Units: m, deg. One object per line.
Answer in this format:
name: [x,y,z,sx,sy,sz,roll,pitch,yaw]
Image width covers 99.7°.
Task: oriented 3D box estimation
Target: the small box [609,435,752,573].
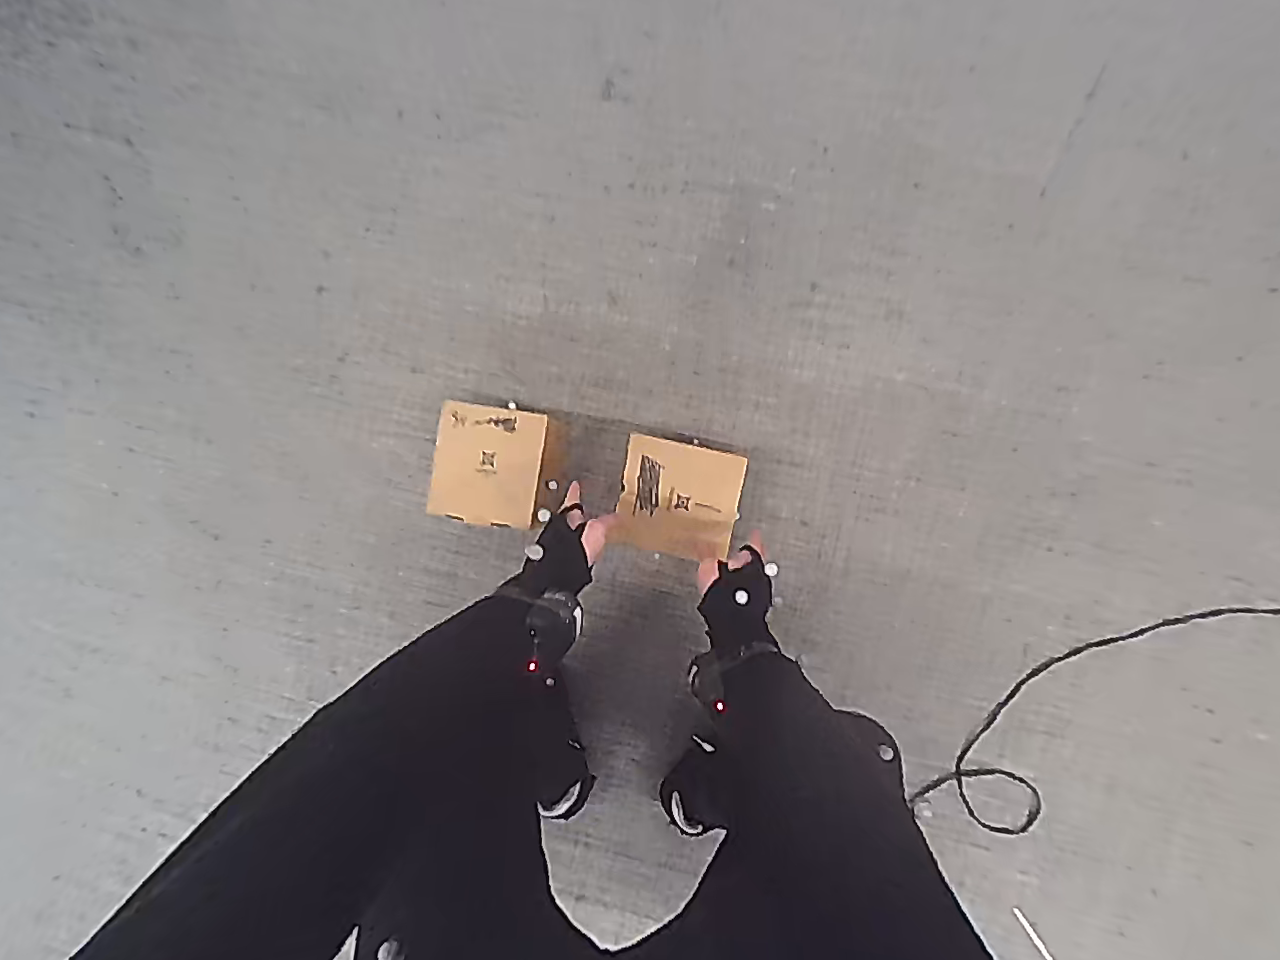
small box: [0.068,0.036,0.868,0.179,0.176,0.168,16,92,7]
